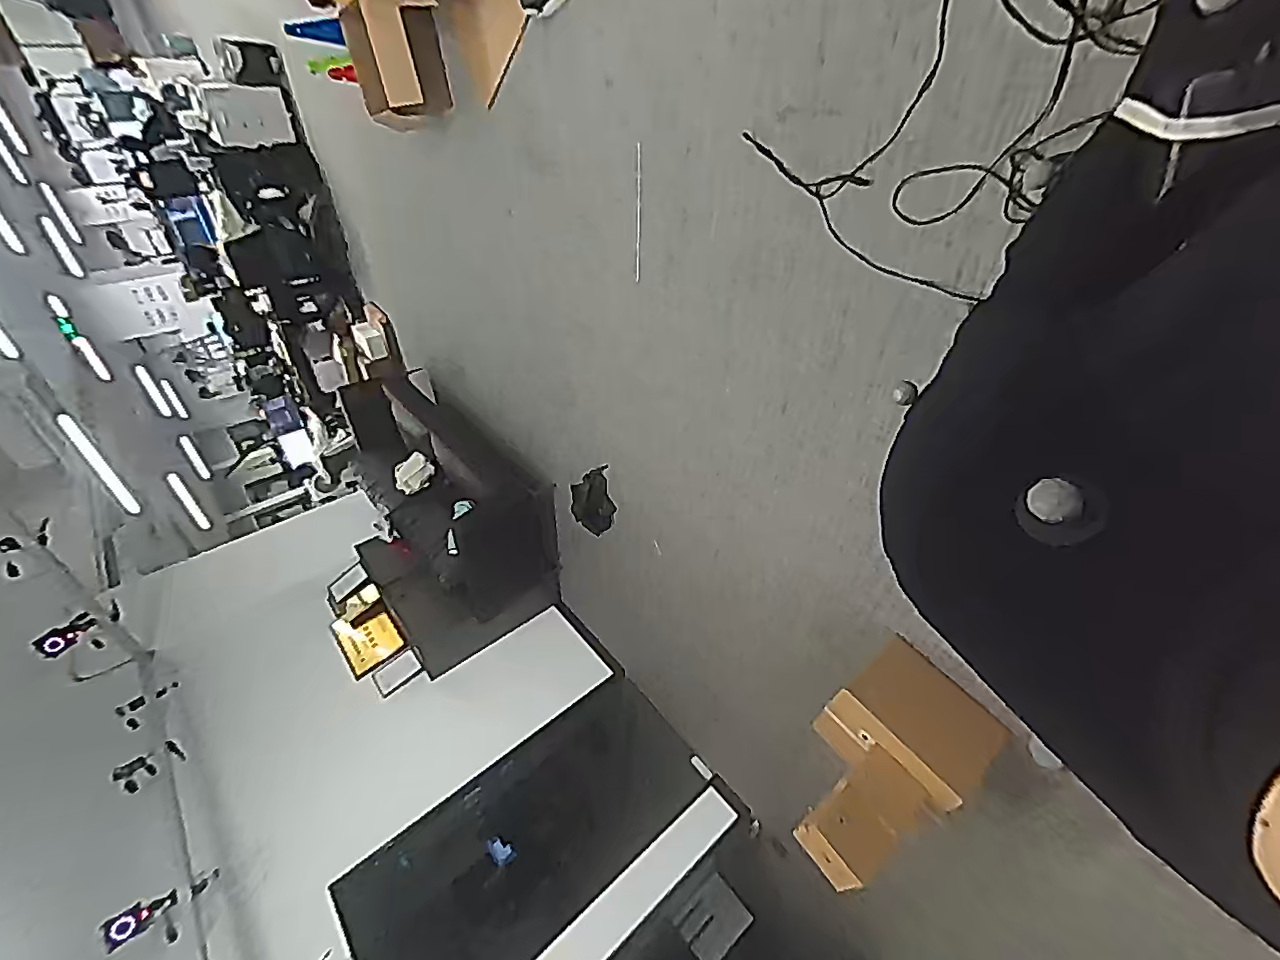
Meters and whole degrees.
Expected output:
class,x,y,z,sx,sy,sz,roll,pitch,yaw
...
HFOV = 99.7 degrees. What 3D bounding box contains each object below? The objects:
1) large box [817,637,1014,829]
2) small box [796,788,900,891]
class,x,y,z,sx,sy,sz,roll,pitch,yaw
large box,0.862,0.795,1.729,0.408,0.320,0.320,45,144,31
small box,0.578,0.996,1.511,0.179,0.176,0.168,46,147,26
